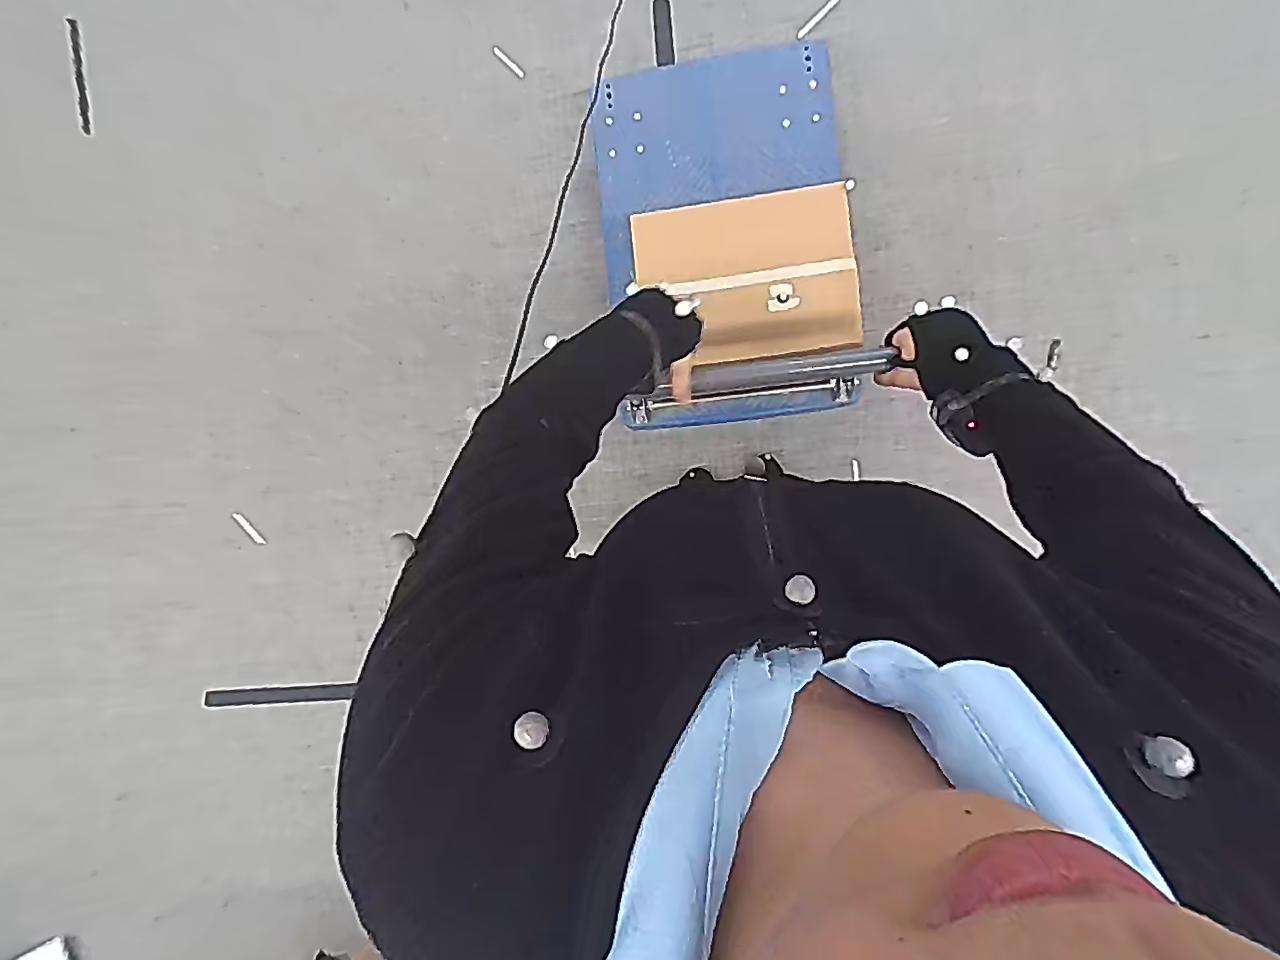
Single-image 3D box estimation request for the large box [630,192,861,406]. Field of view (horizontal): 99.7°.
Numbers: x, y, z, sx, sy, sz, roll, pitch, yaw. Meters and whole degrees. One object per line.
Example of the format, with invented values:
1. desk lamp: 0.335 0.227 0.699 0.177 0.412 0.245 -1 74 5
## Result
1. large box: 0.208 -0.355 1.159 0.408 0.320 0.320 -6 90 6
